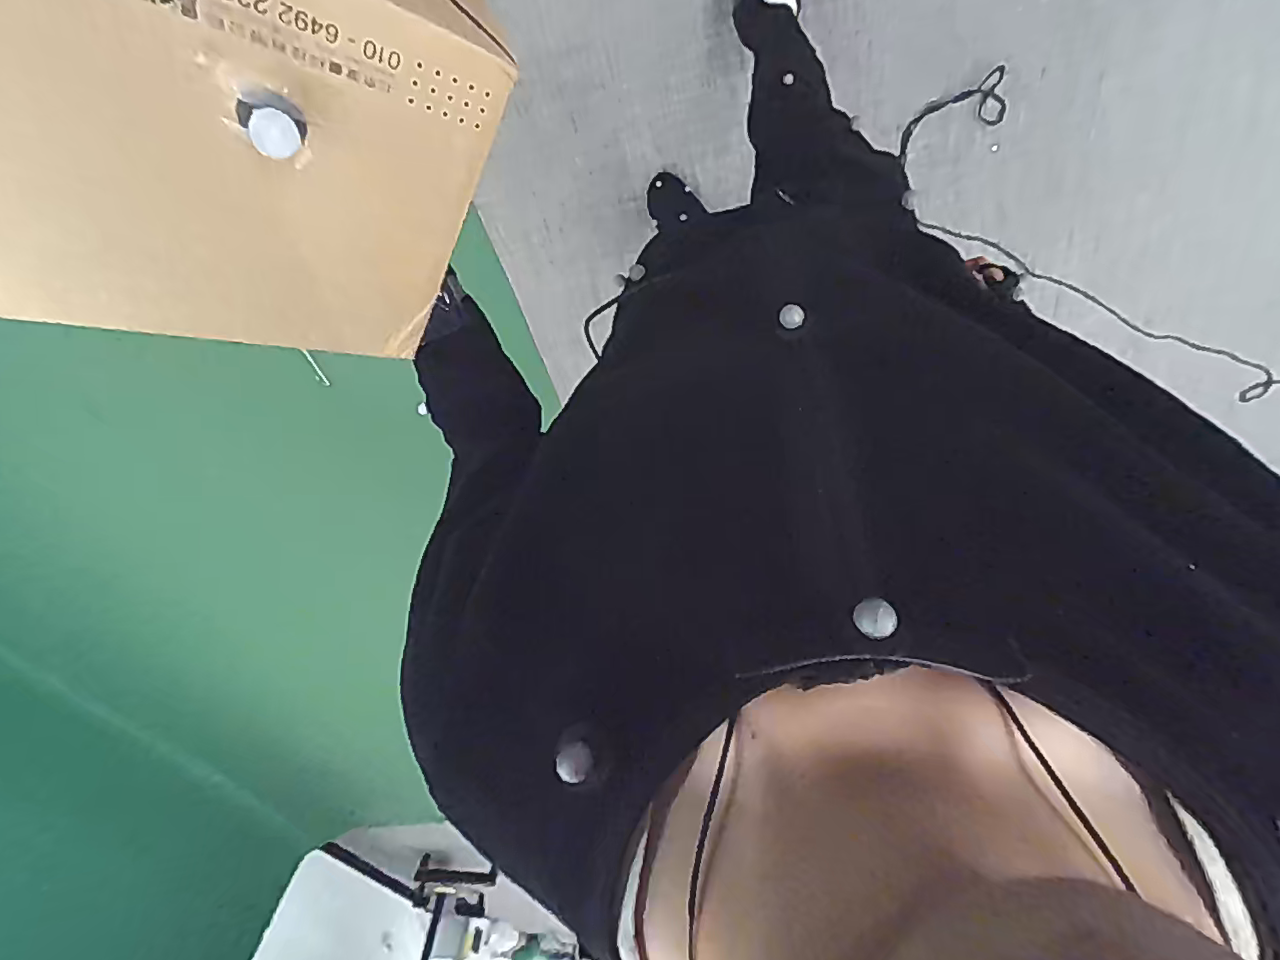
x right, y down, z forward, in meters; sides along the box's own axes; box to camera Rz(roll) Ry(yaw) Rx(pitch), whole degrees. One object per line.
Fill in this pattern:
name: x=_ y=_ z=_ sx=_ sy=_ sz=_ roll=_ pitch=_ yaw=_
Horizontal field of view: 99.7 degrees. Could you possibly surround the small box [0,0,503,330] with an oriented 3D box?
small box: x=-0.177 y=-0.197 z=0.230 sx=0.168 sy=0.179 sz=0.176 roll=-2 pitch=149 yaw=-39
